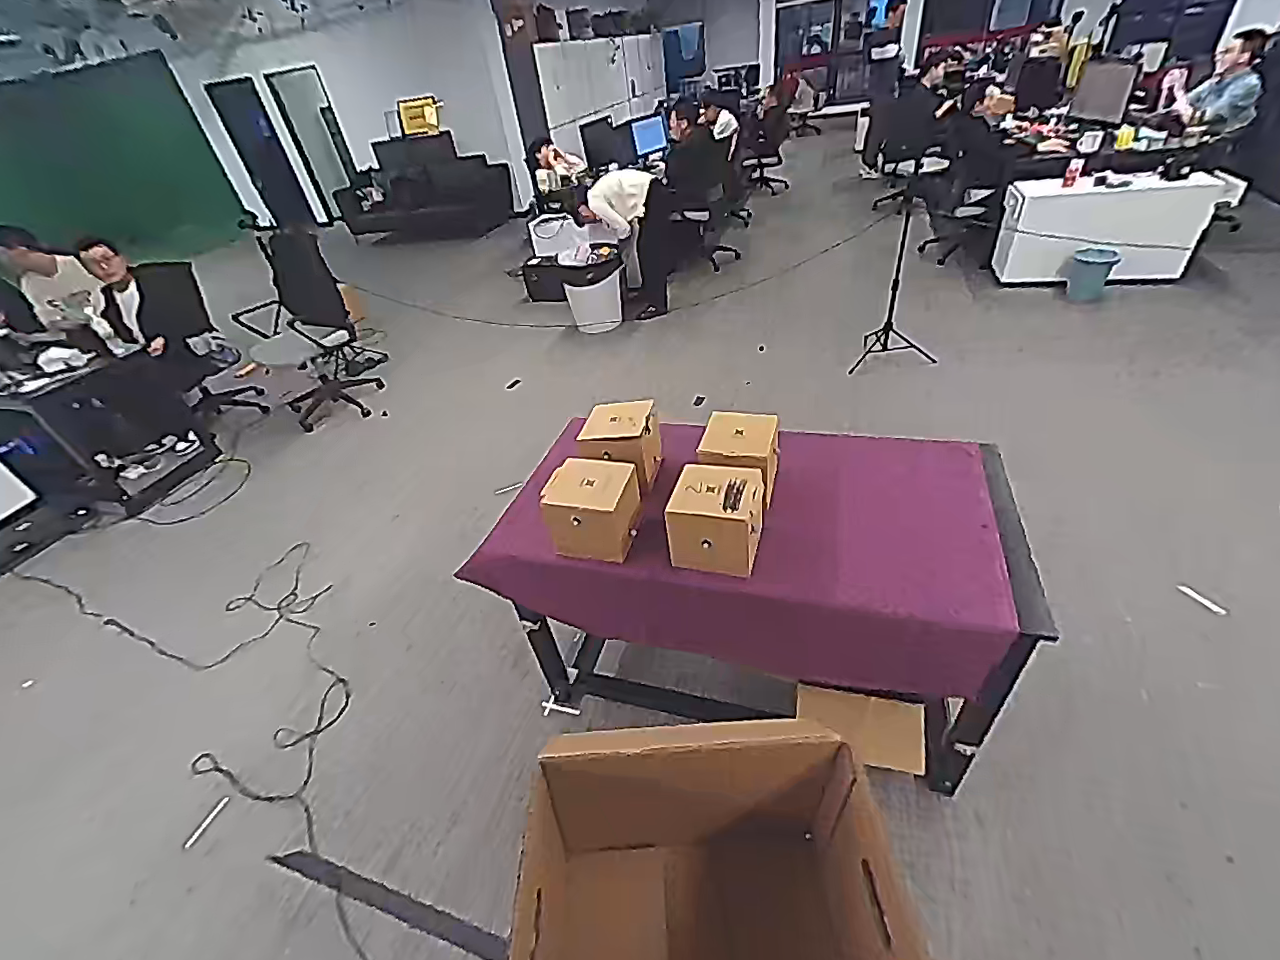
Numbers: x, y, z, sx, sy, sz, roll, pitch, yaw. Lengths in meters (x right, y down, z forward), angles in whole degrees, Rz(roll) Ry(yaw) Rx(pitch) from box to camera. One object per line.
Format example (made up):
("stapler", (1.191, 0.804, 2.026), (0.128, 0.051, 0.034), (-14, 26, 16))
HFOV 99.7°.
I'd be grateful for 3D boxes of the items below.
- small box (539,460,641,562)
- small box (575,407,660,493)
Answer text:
("small box", (-0.109, 0.073, 1.264), (0.179, 0.176, 0.168), (6, 41, 17))
("small box", (-0.052, -0.079, 1.443), (0.179, 0.176, 0.168), (5, 41, 15))
